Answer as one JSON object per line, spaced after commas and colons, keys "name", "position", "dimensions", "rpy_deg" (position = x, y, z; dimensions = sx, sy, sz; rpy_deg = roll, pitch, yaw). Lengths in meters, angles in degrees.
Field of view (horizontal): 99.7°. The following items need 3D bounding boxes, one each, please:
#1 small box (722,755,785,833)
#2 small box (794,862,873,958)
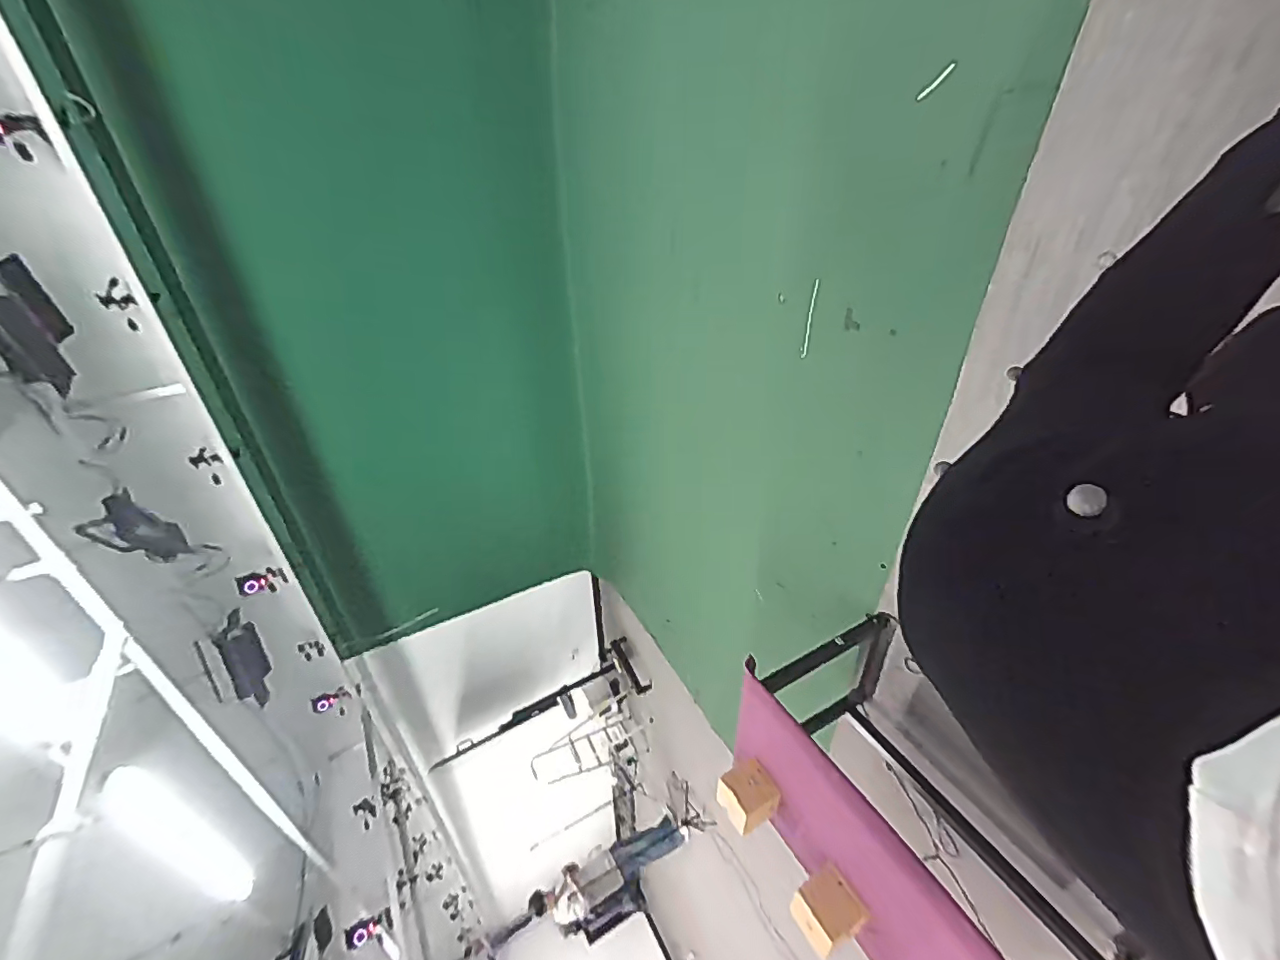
{"name": "small box", "position": [0.439, 1.208, 2.090], "dimensions": [0.168, 0.176, 0.179], "rpy_deg": [46, 145, 46]}
{"name": "small box", "position": [0.642, 1.420, 1.794], "dimensions": [0.168, 0.176, 0.179], "rpy_deg": [45, 146, 47]}
